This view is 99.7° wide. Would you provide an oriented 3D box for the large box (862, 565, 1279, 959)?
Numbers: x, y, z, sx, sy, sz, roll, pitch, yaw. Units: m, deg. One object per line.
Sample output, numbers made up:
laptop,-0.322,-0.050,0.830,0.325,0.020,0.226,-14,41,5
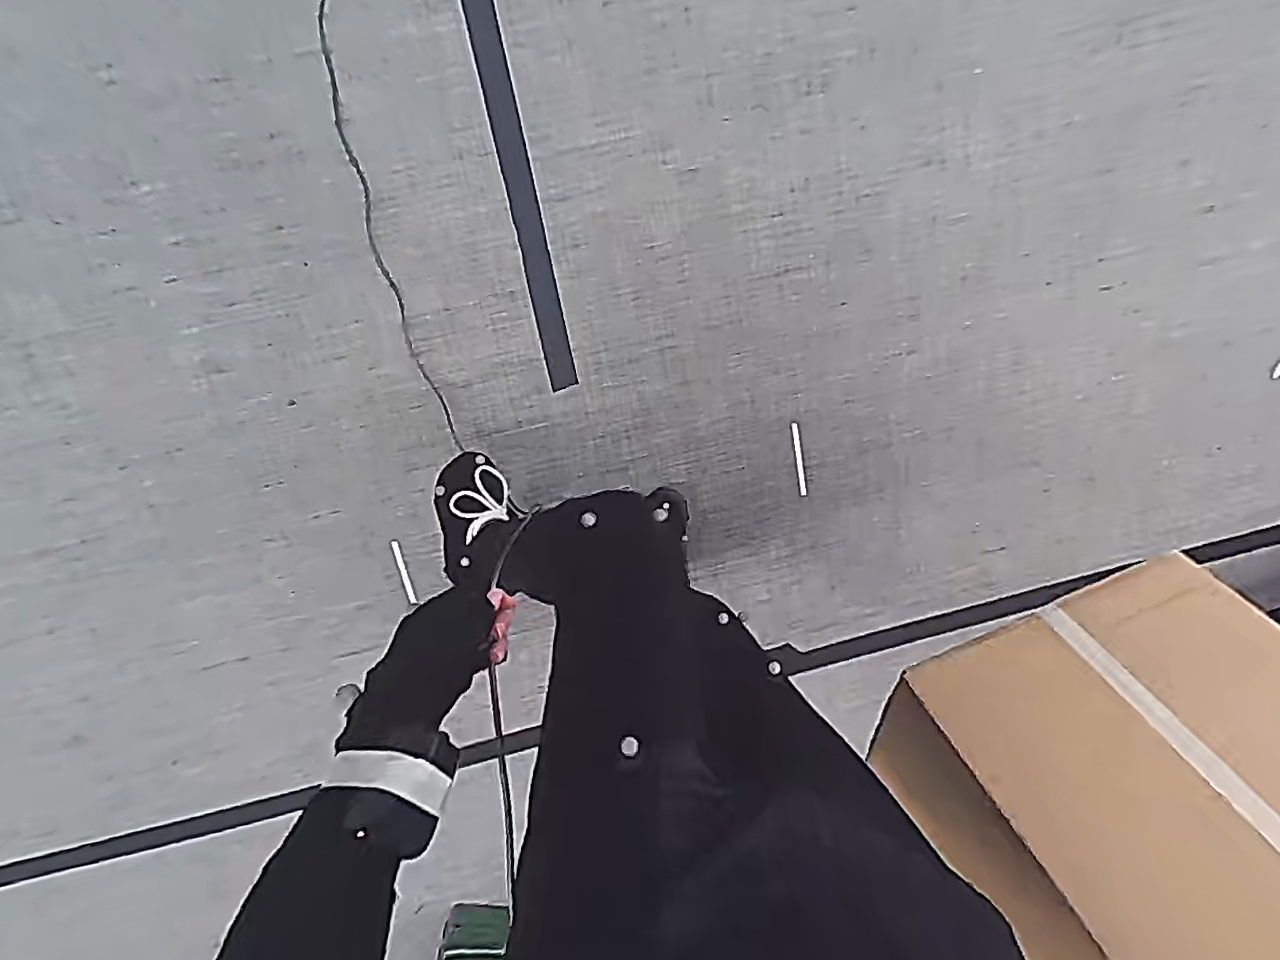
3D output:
large box,0.473,0.364,0.504,0.320,0.408,0.320,-22,137,-5
